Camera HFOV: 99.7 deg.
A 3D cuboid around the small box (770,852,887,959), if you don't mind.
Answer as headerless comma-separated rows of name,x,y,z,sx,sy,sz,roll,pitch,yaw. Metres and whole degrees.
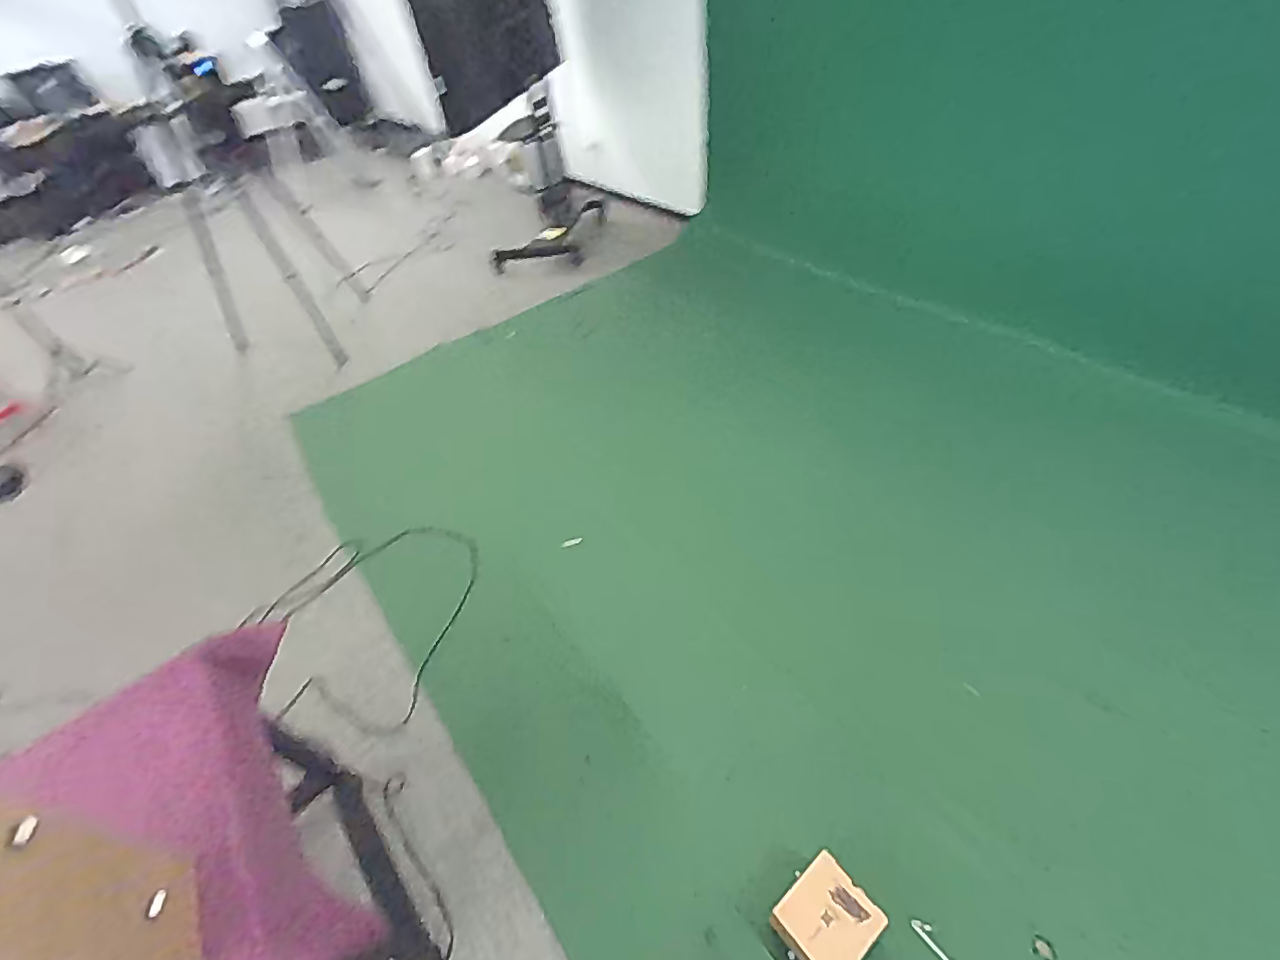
small box,0.401,0.966,1.183,0.179,0.176,0.168,-33,50,-22
